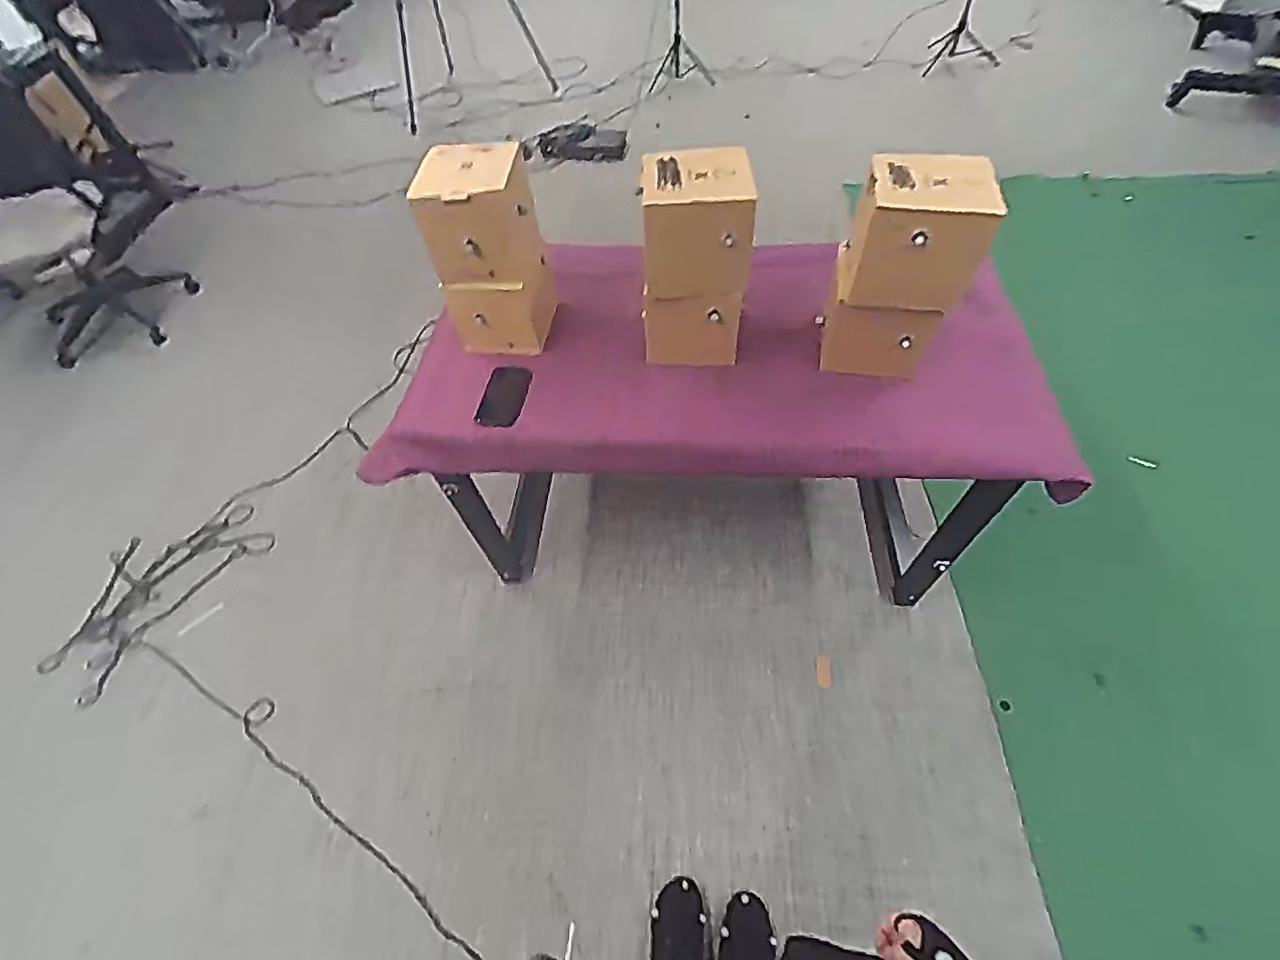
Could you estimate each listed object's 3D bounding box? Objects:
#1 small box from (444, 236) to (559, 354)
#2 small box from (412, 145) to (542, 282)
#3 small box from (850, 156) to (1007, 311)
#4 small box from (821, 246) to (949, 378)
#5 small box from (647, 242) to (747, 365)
[{"bbox_3d":[-0.273,-0.378,1.116,0.168,0.176,0.179,4,55,7],"label":"small box"},{"bbox_3d":[-0.284,-0.478,0.987,0.168,0.176,0.179,0,56,4],"label":"small box"},{"bbox_3d":[0.443,-0.390,0.865,0.179,0.176,0.168,8,56,10],"label":"small box"},{"bbox_3d":[0.448,-0.309,1.009,0.179,0.176,0.168,8,56,11],"label":"small box"},{"bbox_3d":[0.112,-0.340,1.056,0.179,0.176,0.168,3,55,7],"label":"small box"}]
